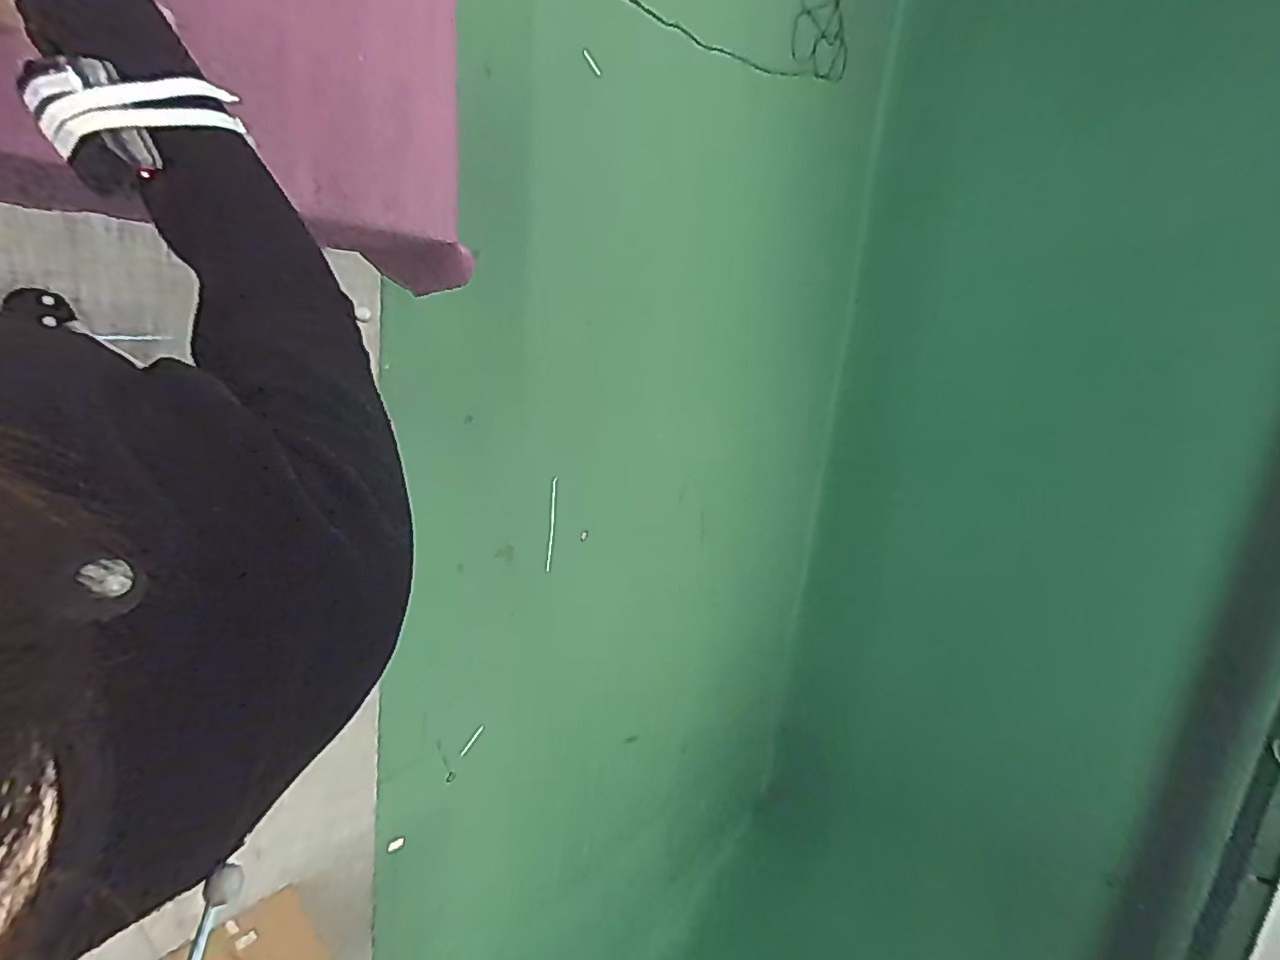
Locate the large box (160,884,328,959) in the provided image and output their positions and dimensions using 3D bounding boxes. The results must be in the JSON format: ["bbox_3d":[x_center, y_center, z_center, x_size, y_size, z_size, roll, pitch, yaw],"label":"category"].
[{"bbox_3d":[-1.039,1.418,1.429,0.320,0.320,0.408,-9,110,-48],"label":"large box"}]
